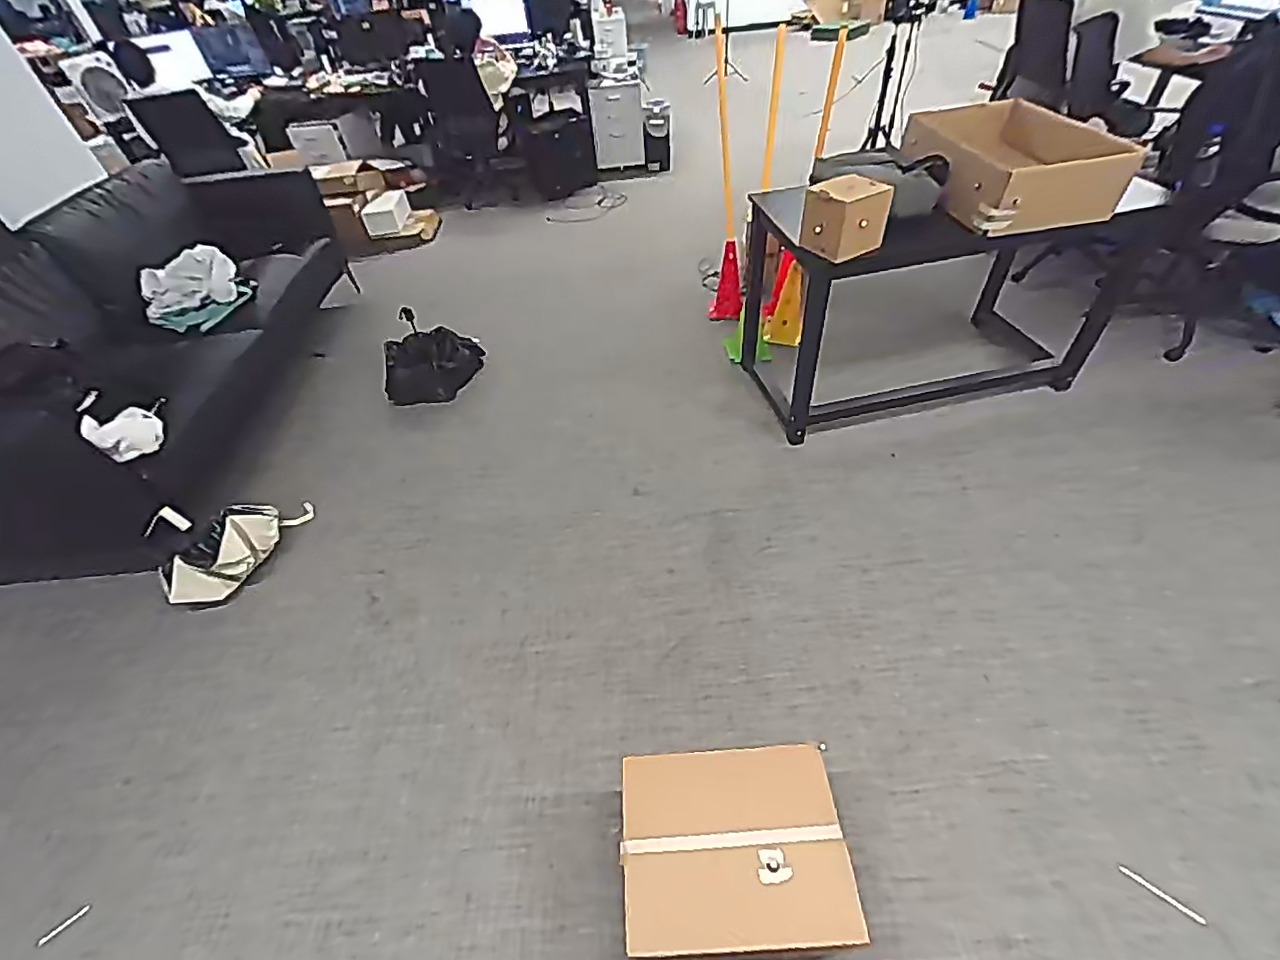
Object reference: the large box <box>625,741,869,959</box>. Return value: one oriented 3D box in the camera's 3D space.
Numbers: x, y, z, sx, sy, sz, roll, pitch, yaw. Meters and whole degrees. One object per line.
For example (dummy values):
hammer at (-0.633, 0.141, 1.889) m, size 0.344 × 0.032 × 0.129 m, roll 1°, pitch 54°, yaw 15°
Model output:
large box at (0.188, 0.765, 1.107) m, size 0.408 × 0.320 × 0.320 m, roll -6°, pitch 47°, yaw 2°
